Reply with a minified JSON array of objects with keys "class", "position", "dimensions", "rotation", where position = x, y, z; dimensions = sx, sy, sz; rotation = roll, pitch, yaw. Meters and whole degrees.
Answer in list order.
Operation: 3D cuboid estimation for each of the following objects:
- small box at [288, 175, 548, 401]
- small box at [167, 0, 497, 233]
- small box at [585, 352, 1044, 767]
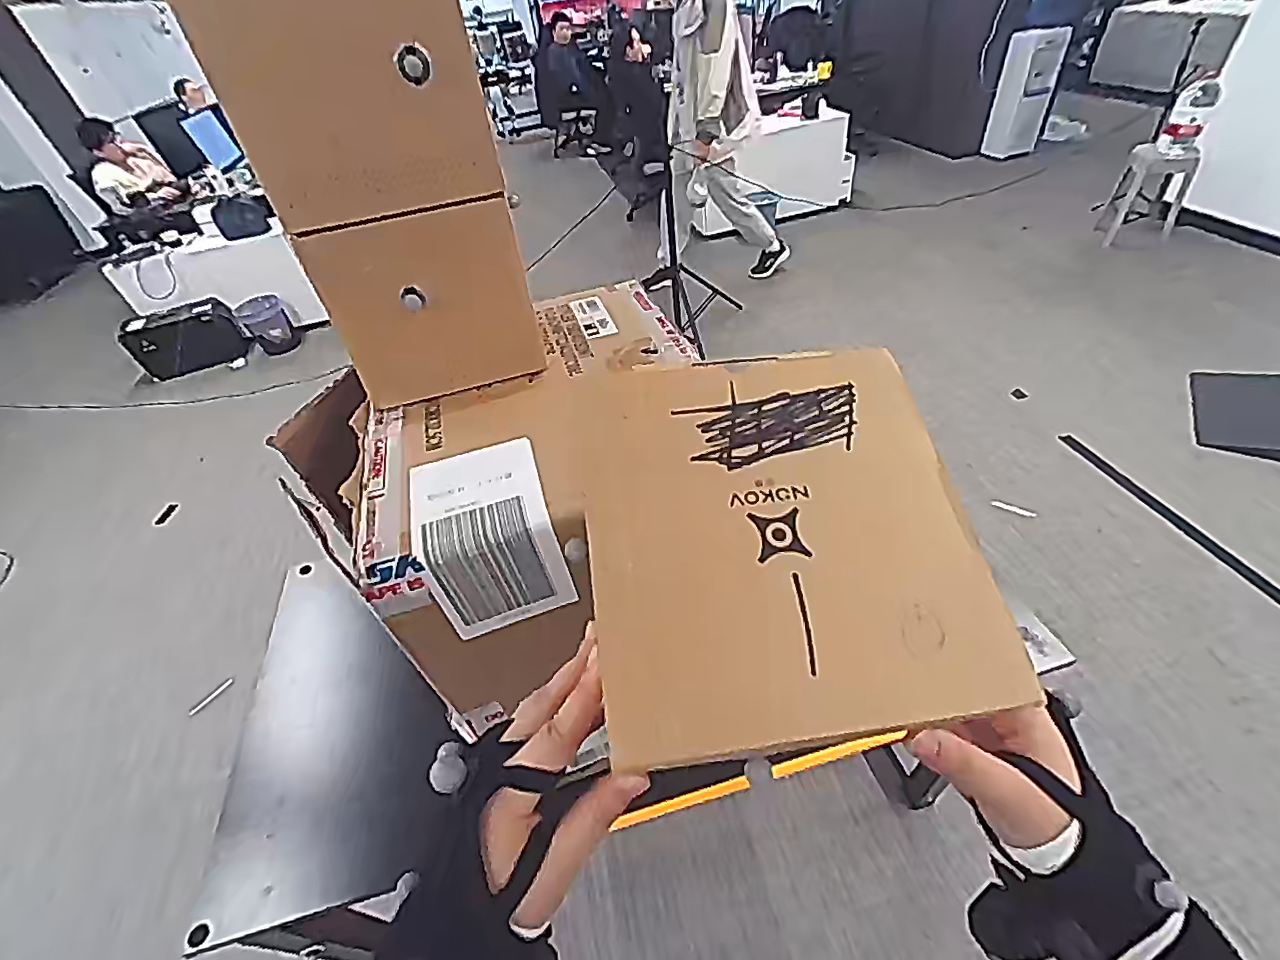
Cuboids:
[{"class":"small box","position":[-0.208,-0.201,0.546],"dimensions":[0.179,0.176,0.168],"rotation":[-17,42,-9]},{"class":"small box","position":[-0.224,-0.320,0.435],"dimensions":[0.179,0.176,0.168],"rotation":[-19,41,-10]},{"class":"small box","position":[0.059,0.053,0.305],"dimensions":[0.168,0.176,0.179],"rotation":[-6,62,-5]}]
